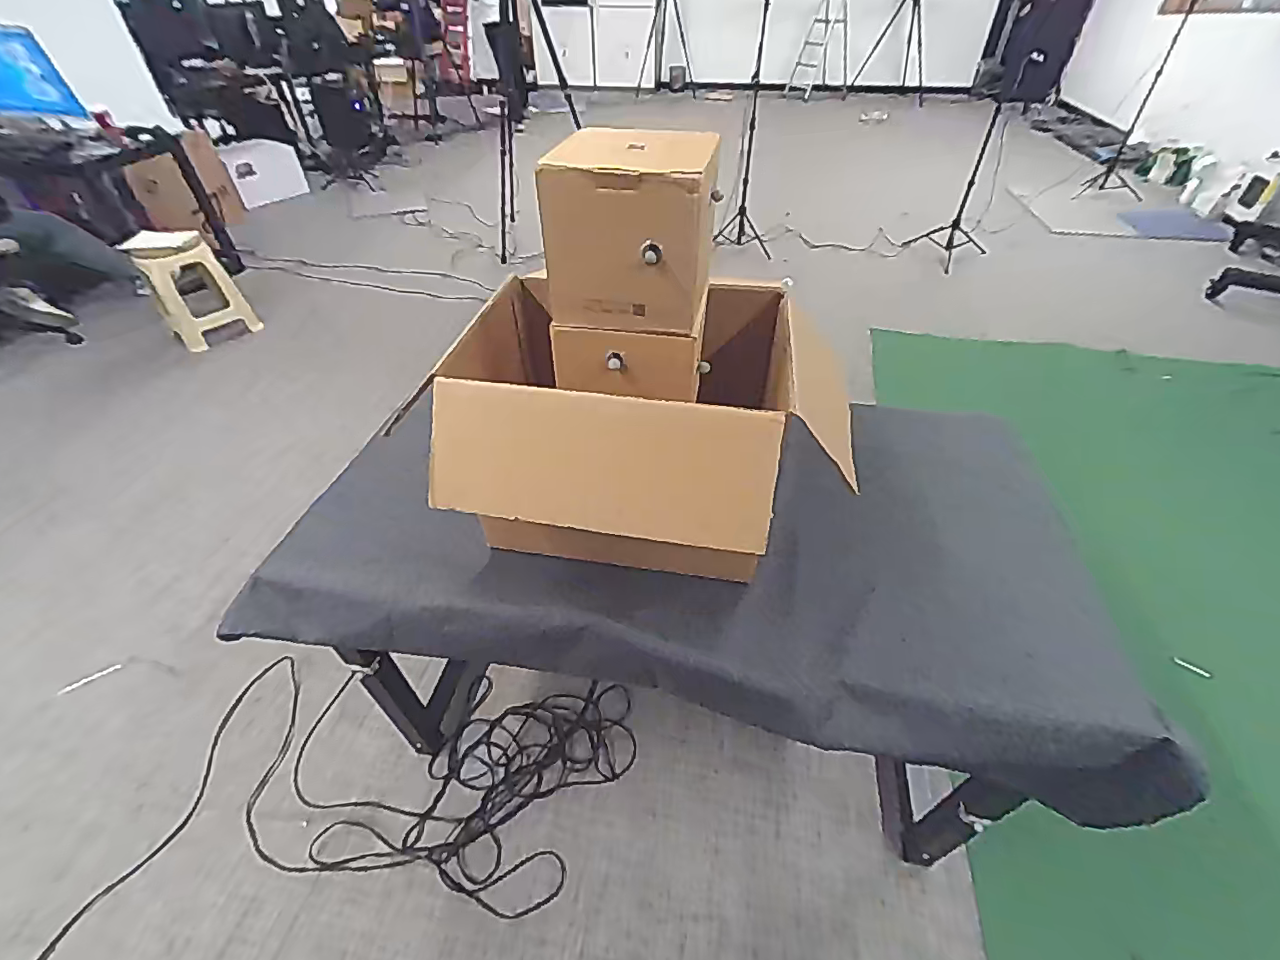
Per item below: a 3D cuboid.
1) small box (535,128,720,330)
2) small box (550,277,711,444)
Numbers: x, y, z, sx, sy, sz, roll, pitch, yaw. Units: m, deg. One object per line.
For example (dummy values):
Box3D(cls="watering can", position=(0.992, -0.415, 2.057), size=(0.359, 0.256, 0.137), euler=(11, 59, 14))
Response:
Box3D(cls="small box", position=(-0.005, -0.289, 0.621), size=(0.168, 0.176, 0.179), euler=(8, 43, 8))
Box3D(cls="small box", position=(-0.005, -0.165, 0.727), size=(0.179, 0.176, 0.168), euler=(7, 44, 8))
